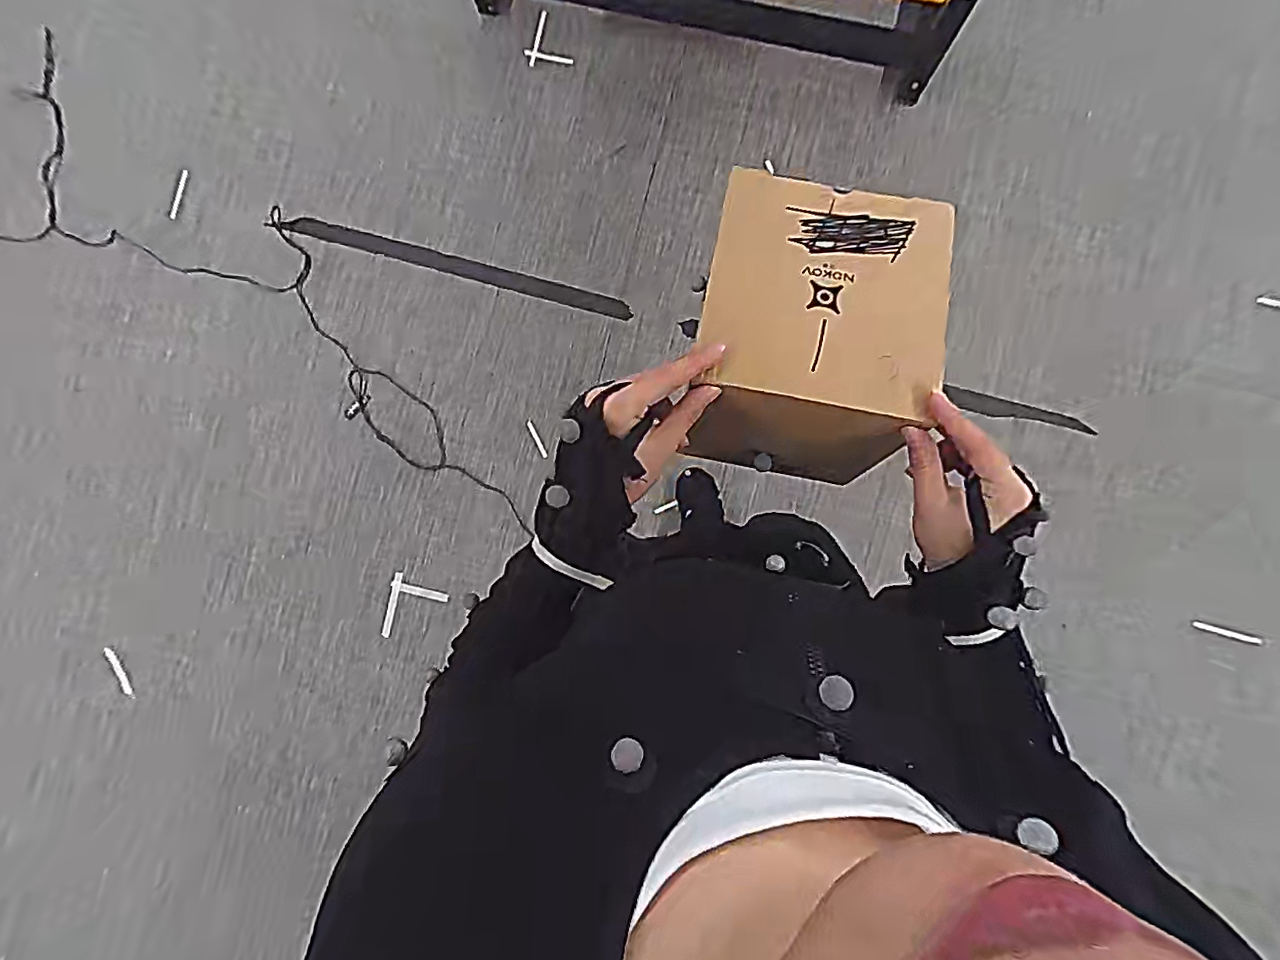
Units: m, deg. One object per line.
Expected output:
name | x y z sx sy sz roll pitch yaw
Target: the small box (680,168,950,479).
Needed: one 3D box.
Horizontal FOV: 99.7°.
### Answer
small box | 0.130 -0.116 0.457 0.168 0.176 0.179 11 76 3
